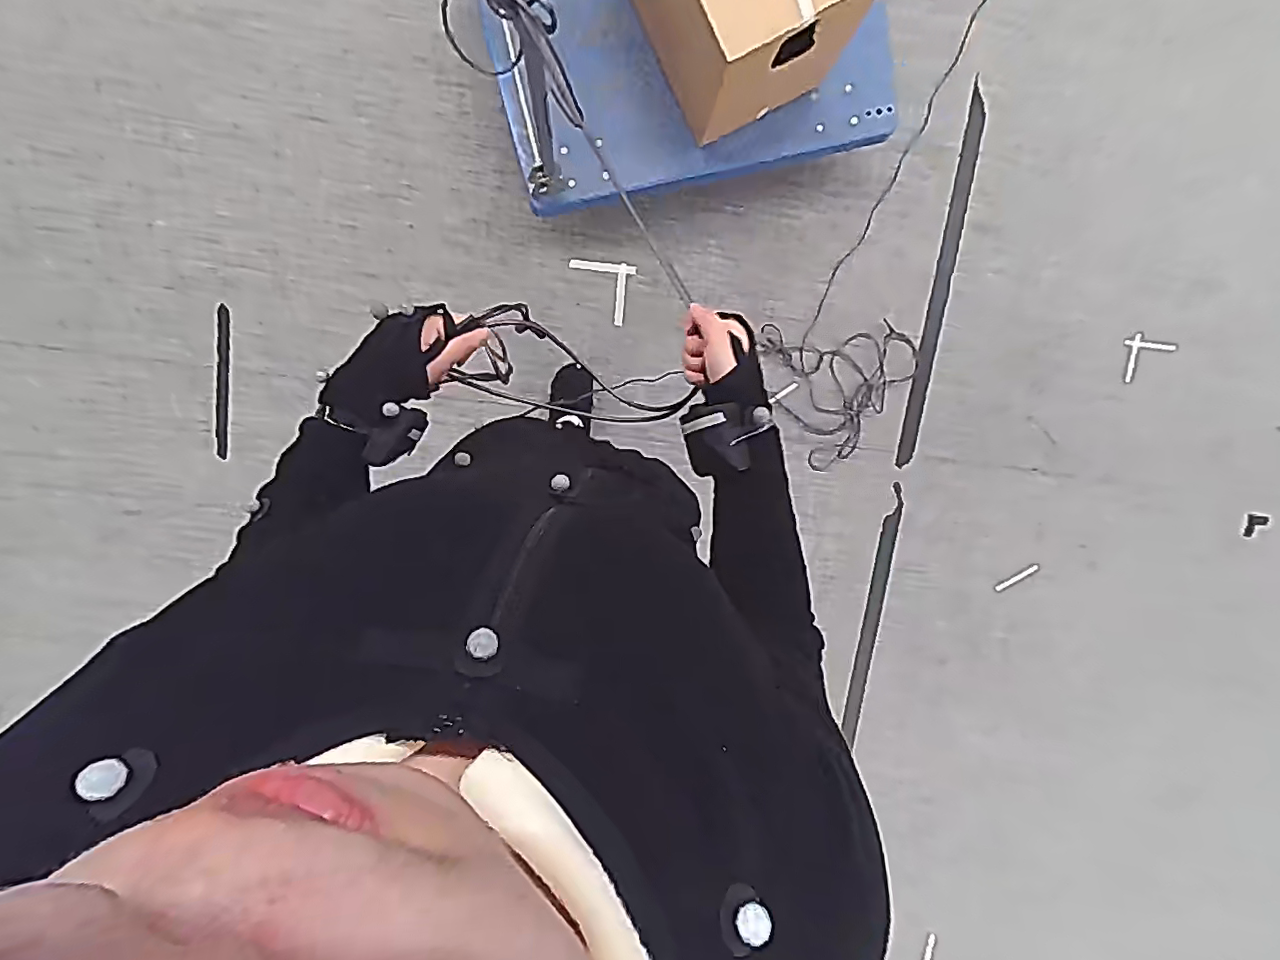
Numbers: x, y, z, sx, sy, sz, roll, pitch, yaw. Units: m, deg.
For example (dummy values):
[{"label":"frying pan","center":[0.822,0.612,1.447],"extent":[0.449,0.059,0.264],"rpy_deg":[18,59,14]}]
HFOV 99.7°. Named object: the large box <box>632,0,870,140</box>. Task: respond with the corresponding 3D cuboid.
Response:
[{"label":"large box","center":[0.183,-0.976,1.030],"extent":[0.320,0.320,0.408],"rpy_deg":[-28,100,2]}]
